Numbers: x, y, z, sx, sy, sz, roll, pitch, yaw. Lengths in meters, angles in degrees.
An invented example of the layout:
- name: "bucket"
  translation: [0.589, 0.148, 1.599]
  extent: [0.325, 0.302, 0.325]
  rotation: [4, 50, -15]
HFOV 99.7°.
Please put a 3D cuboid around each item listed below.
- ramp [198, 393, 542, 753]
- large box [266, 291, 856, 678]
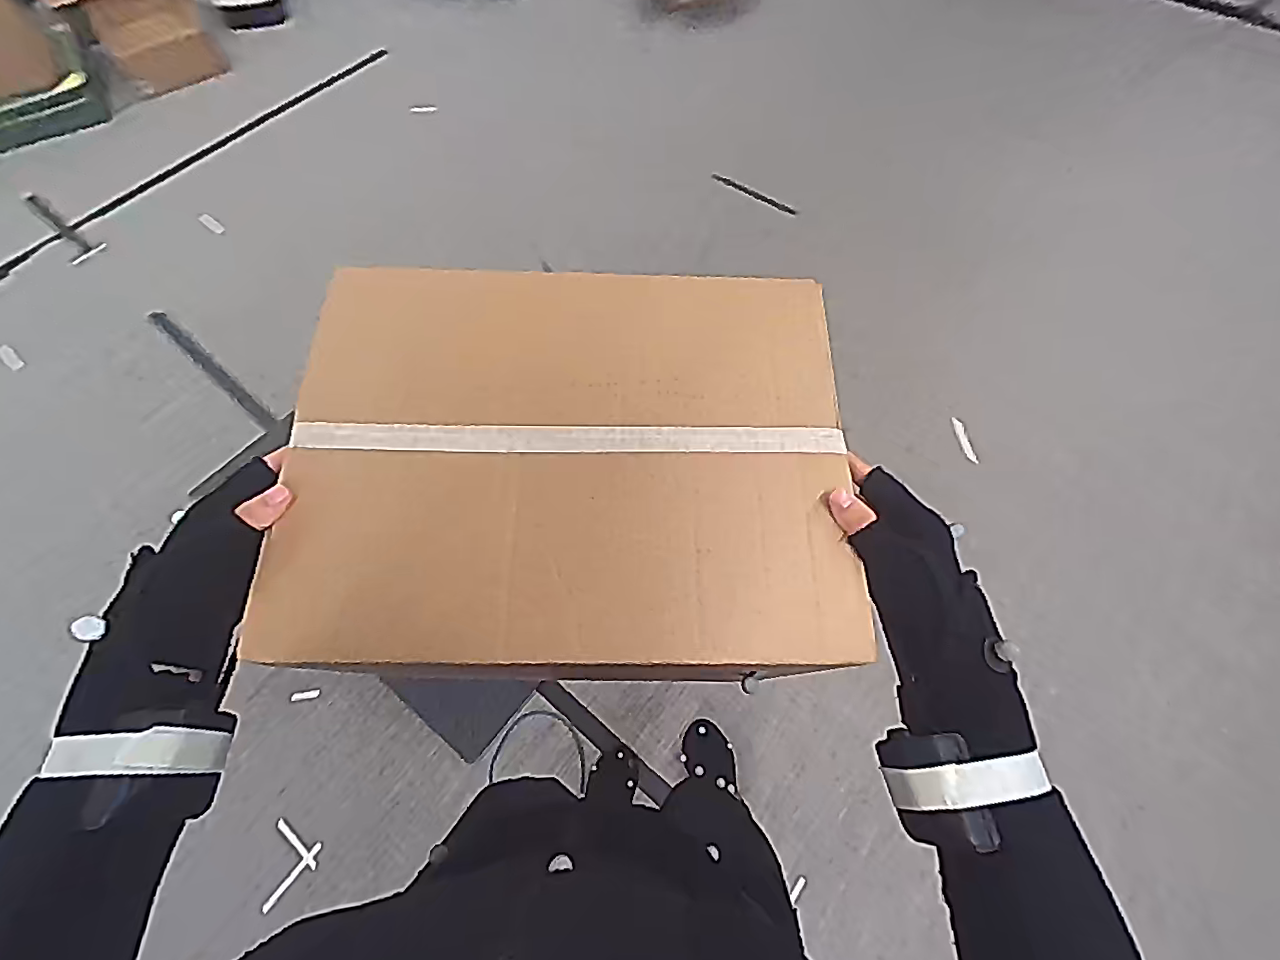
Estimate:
- name: "ramp"
  translation: [-0.626, 0.177, 1.434]
  extent: [0.991, 0.206, 0.509]
  rotation: [35, 69, 16]
- name: "large box"
  translation: [-0.055, 0.033, 0.553]
  extent: [0.408, 0.320, 0.320]
  rotation: [0, 68, -2]
